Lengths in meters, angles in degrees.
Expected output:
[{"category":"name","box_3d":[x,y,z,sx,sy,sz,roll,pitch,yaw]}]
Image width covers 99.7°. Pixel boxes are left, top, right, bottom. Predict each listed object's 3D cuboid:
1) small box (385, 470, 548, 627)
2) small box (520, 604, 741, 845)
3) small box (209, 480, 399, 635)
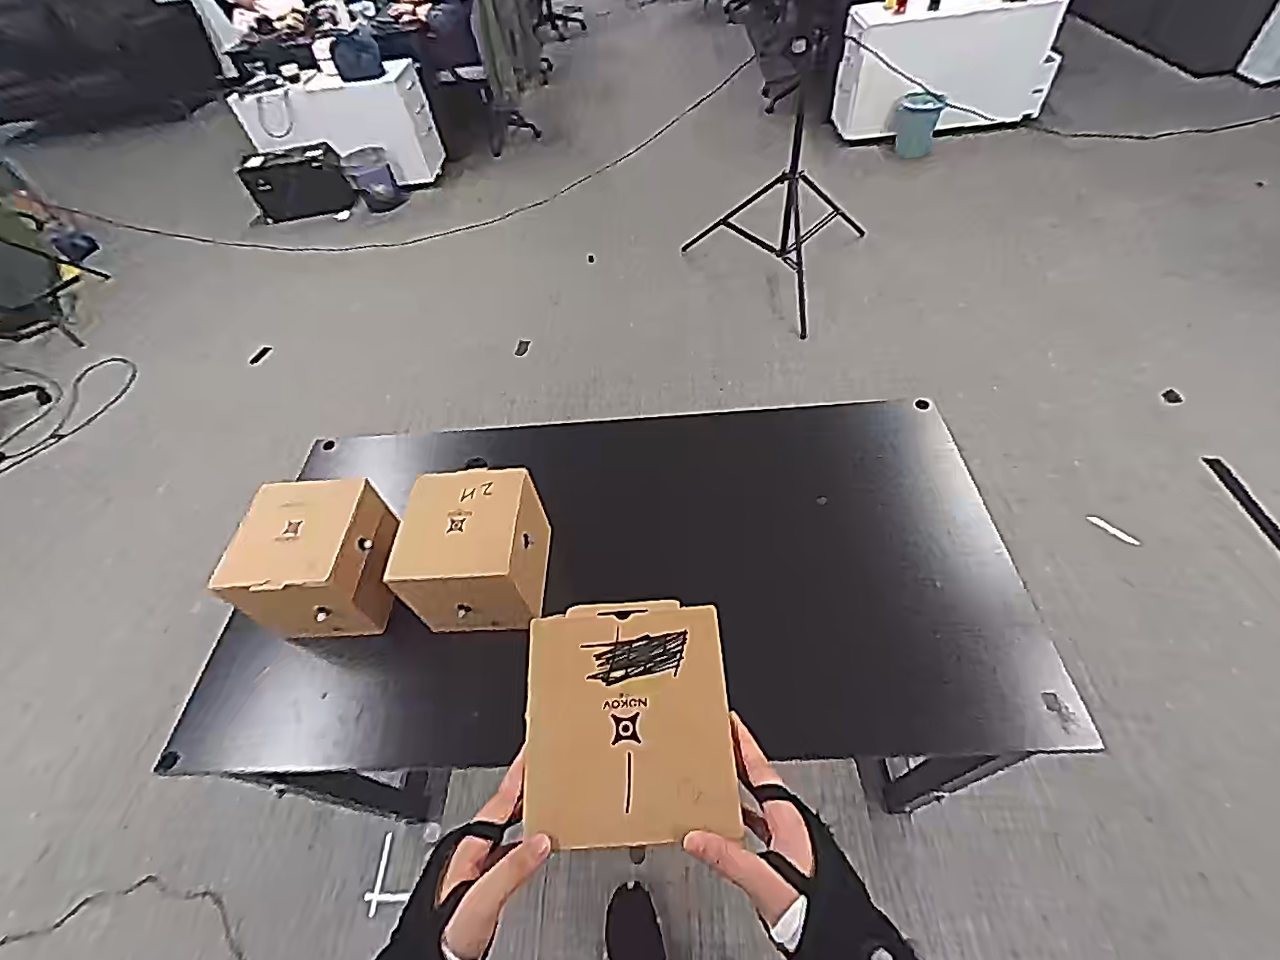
[{"category":"small box","box_3d":[-0.237,0.107,0.794,0.168,0.176,0.179,-3,52,4]},{"category":"small box","box_3d":[-0.005,0.231,0.505,0.168,0.176,0.179,-5,59,2]},{"category":"small box","box_3d":[-0.476,0.123,0.813,0.168,0.176,0.179,-4,51,3]}]
